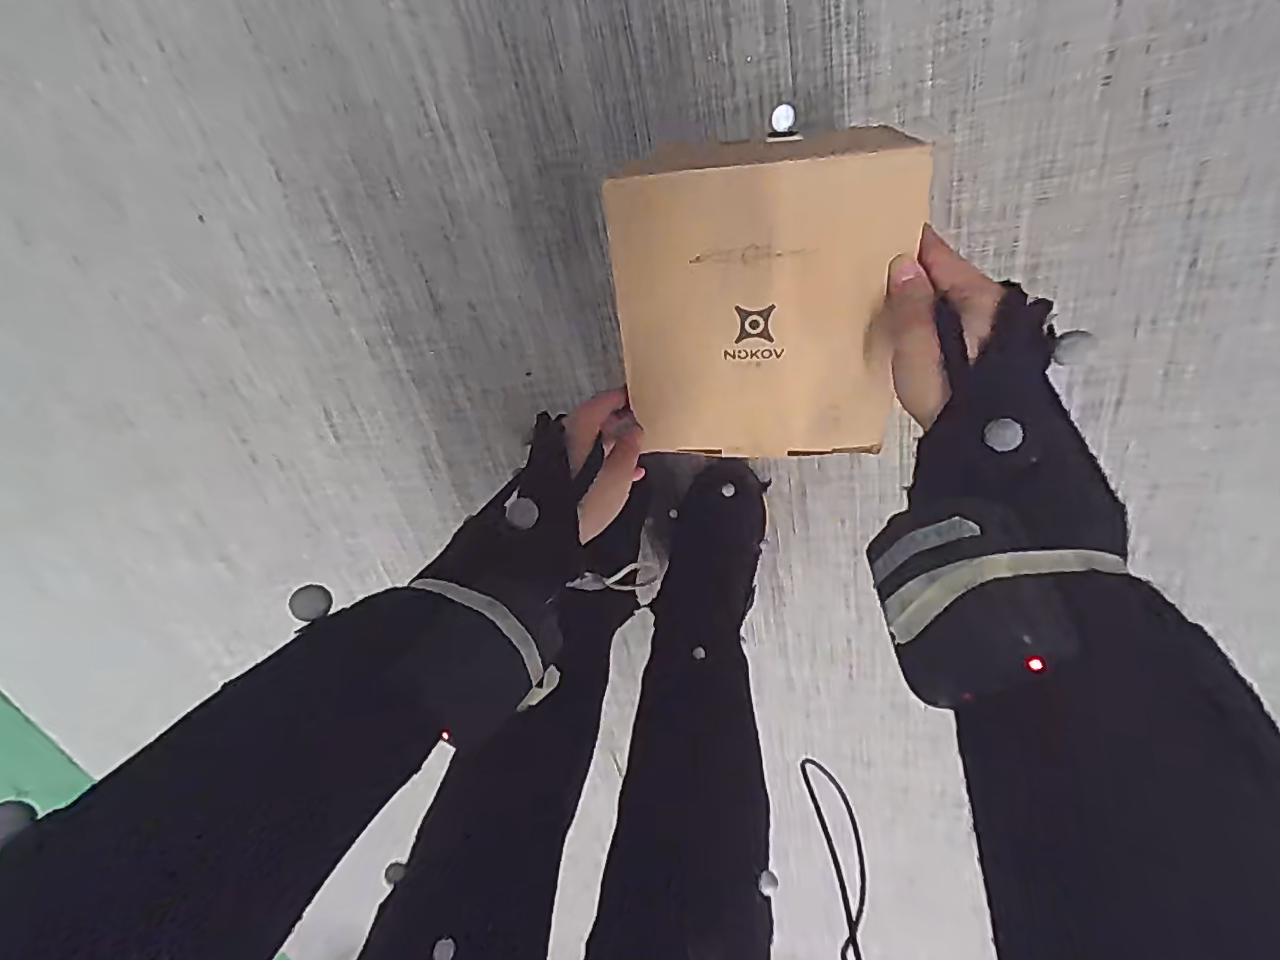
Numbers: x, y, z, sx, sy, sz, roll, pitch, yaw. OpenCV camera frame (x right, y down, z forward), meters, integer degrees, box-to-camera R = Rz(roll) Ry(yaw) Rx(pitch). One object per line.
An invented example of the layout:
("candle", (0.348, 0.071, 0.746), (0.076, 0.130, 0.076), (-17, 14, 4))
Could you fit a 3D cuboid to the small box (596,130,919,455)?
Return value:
("small box", (0.080, -0.134, 0.386), (0.168, 0.176, 0.179), (0, 124, 13))
